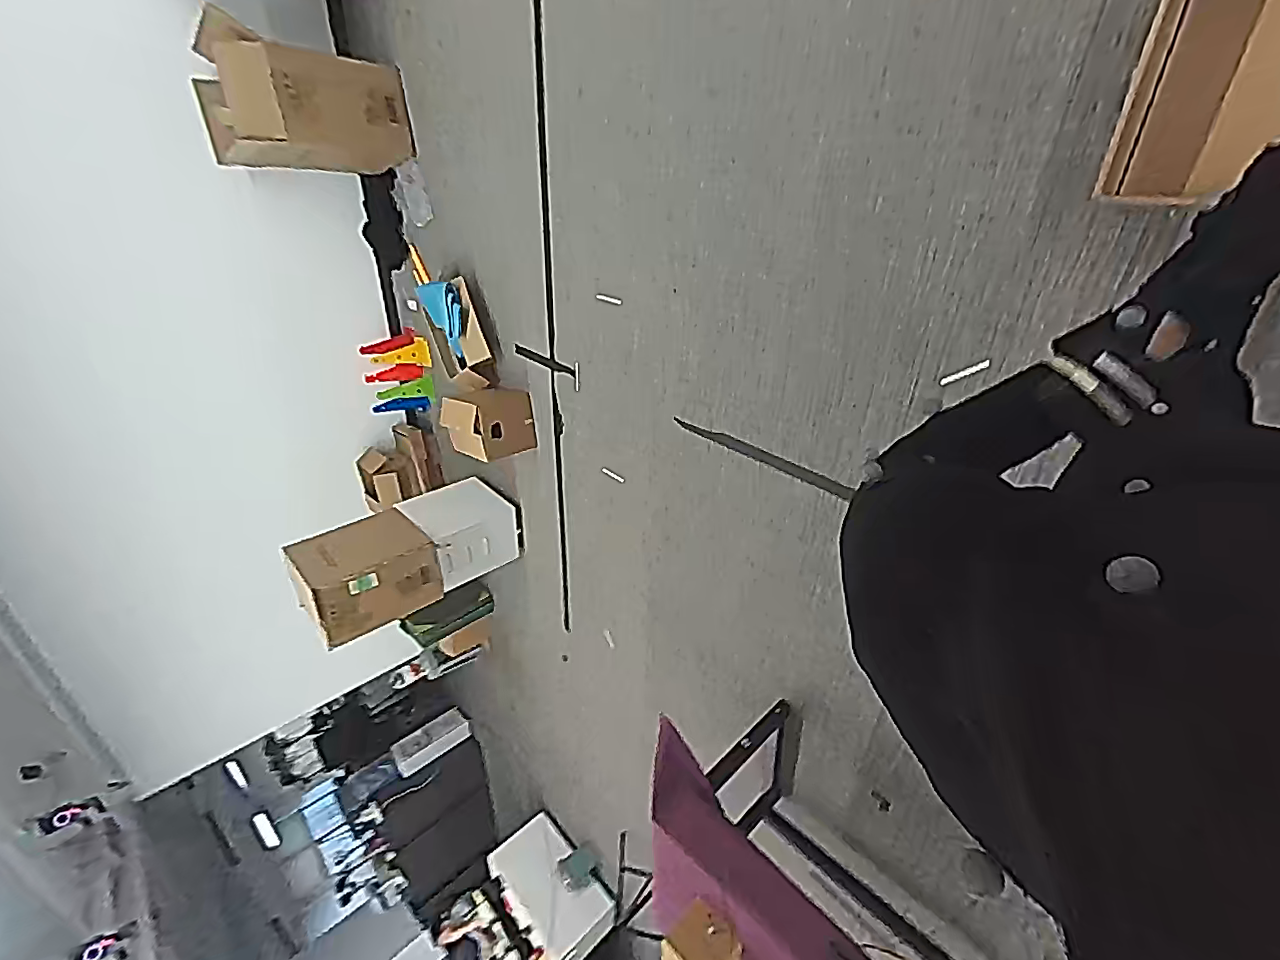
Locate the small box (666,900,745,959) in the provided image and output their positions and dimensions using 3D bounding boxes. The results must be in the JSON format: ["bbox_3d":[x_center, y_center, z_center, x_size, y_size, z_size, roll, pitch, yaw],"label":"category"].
[{"bbox_3d":[0.194,1.410,1.597,0.168,0.176,0.179,23,125,42],"label":"small box"}]
